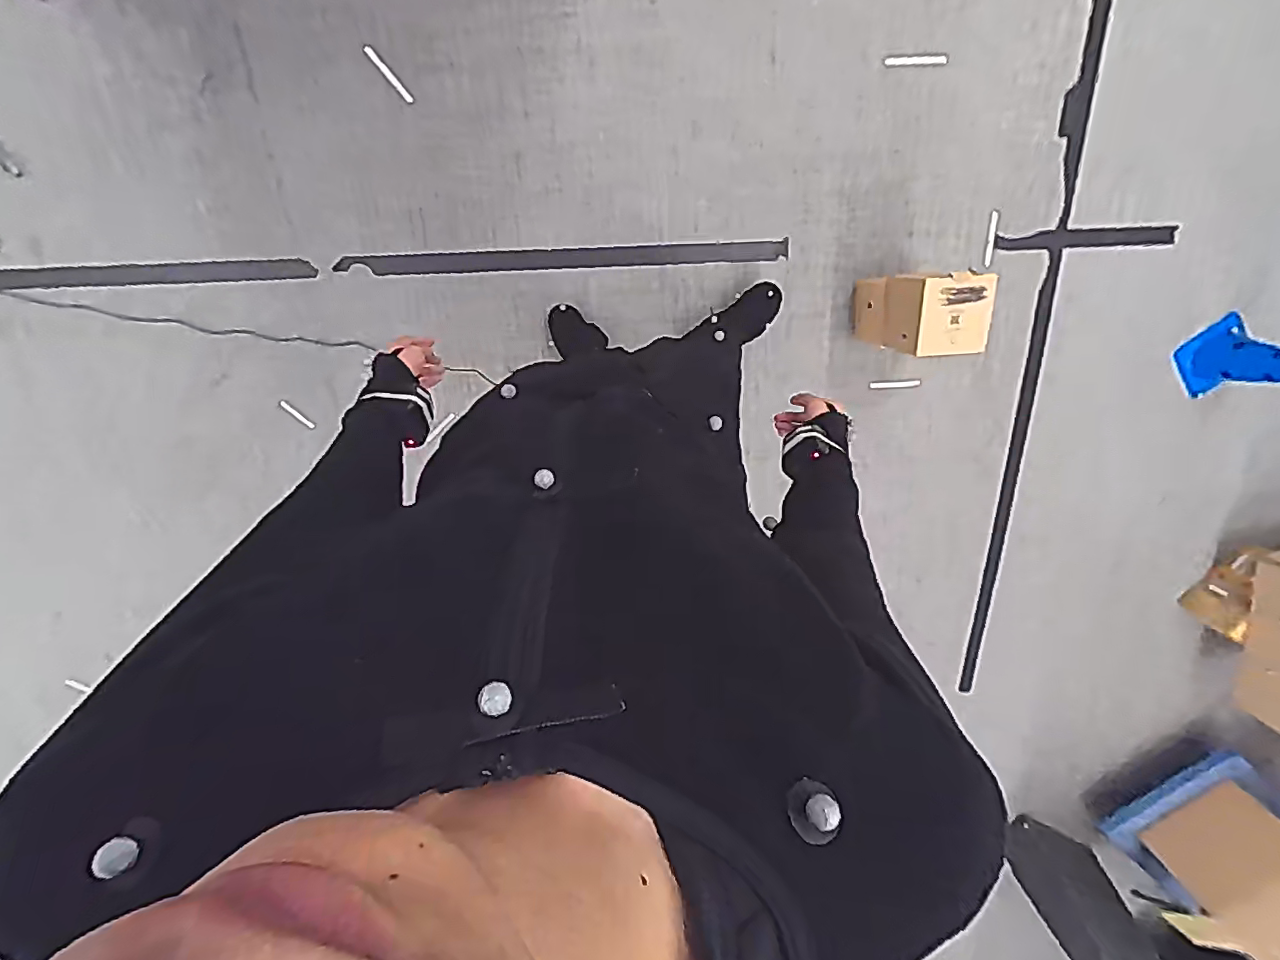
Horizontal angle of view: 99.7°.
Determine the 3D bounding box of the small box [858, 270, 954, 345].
[{"bbox_3d":[0.702,-0.464,1.447,0.179,0.176,0.168,-8,112,-1],"label":"small box"}]
